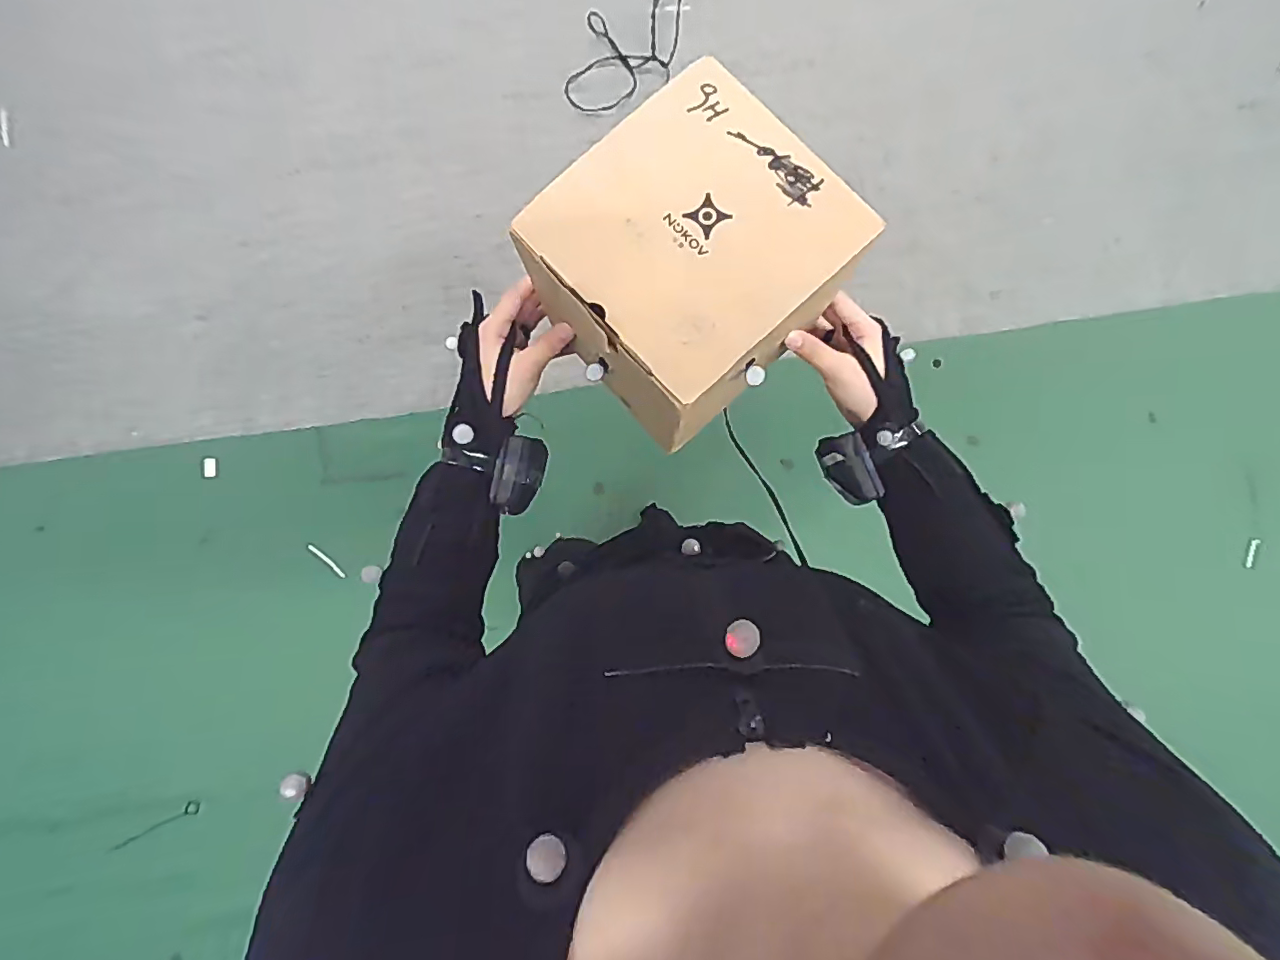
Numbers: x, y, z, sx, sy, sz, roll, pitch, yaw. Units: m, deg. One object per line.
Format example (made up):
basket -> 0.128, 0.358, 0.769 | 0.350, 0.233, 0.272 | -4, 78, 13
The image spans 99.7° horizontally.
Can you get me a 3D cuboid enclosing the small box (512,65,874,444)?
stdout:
small box -> 0.036, -0.149, 0.423 | 0.179, 0.176, 0.168 | -42, 84, -3
